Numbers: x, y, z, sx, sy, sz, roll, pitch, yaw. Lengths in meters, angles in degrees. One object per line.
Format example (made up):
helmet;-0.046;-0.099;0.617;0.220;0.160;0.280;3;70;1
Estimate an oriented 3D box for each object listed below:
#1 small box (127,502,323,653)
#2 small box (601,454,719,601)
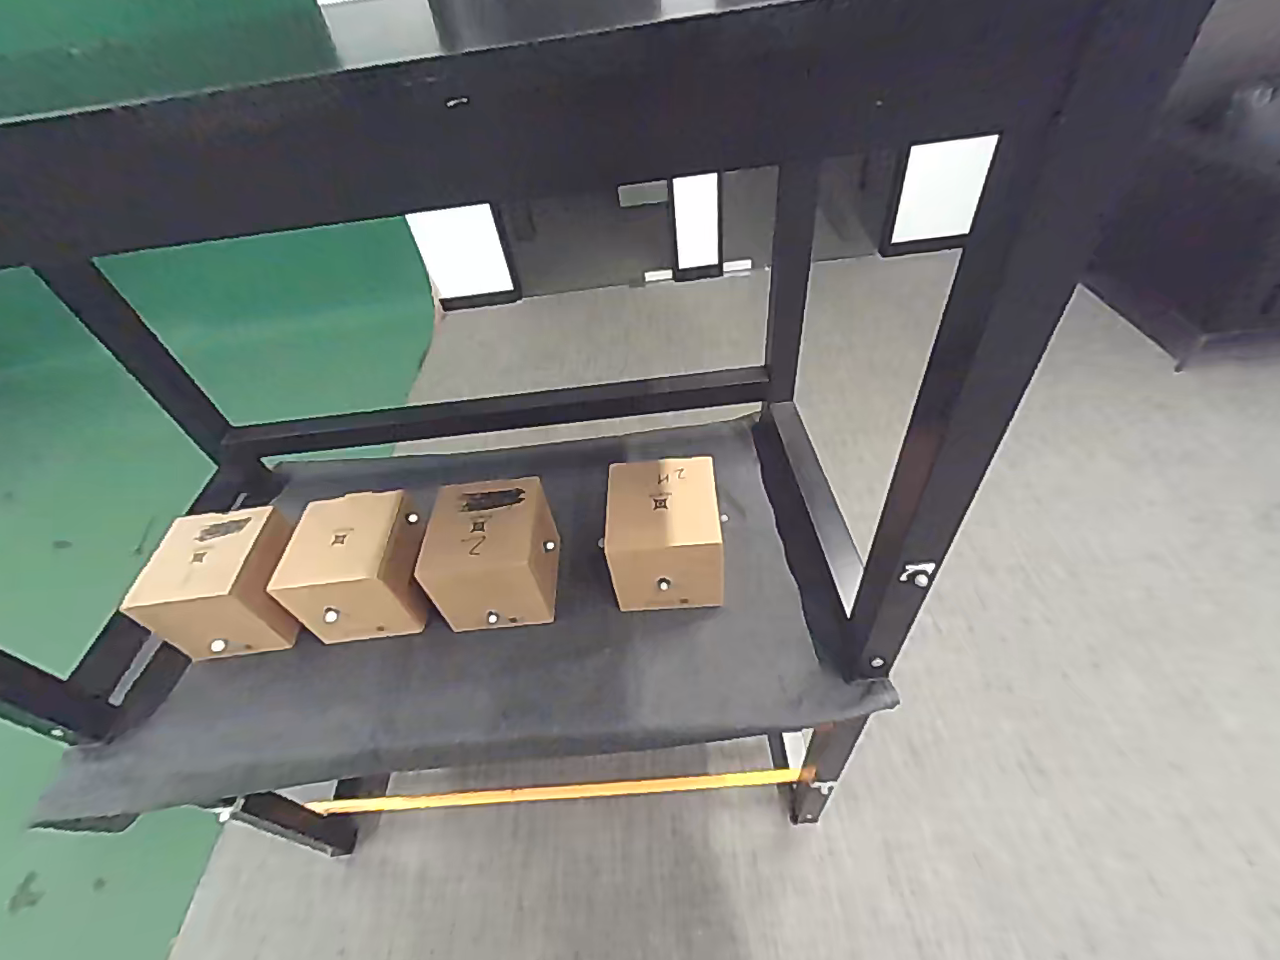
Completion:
small box;-0.666;0.163;0.899;0.168;0.176;0.179;-8;46;2
small box;0.038;0.082;0.862;0.168;0.176;0.179;-3;46;5
